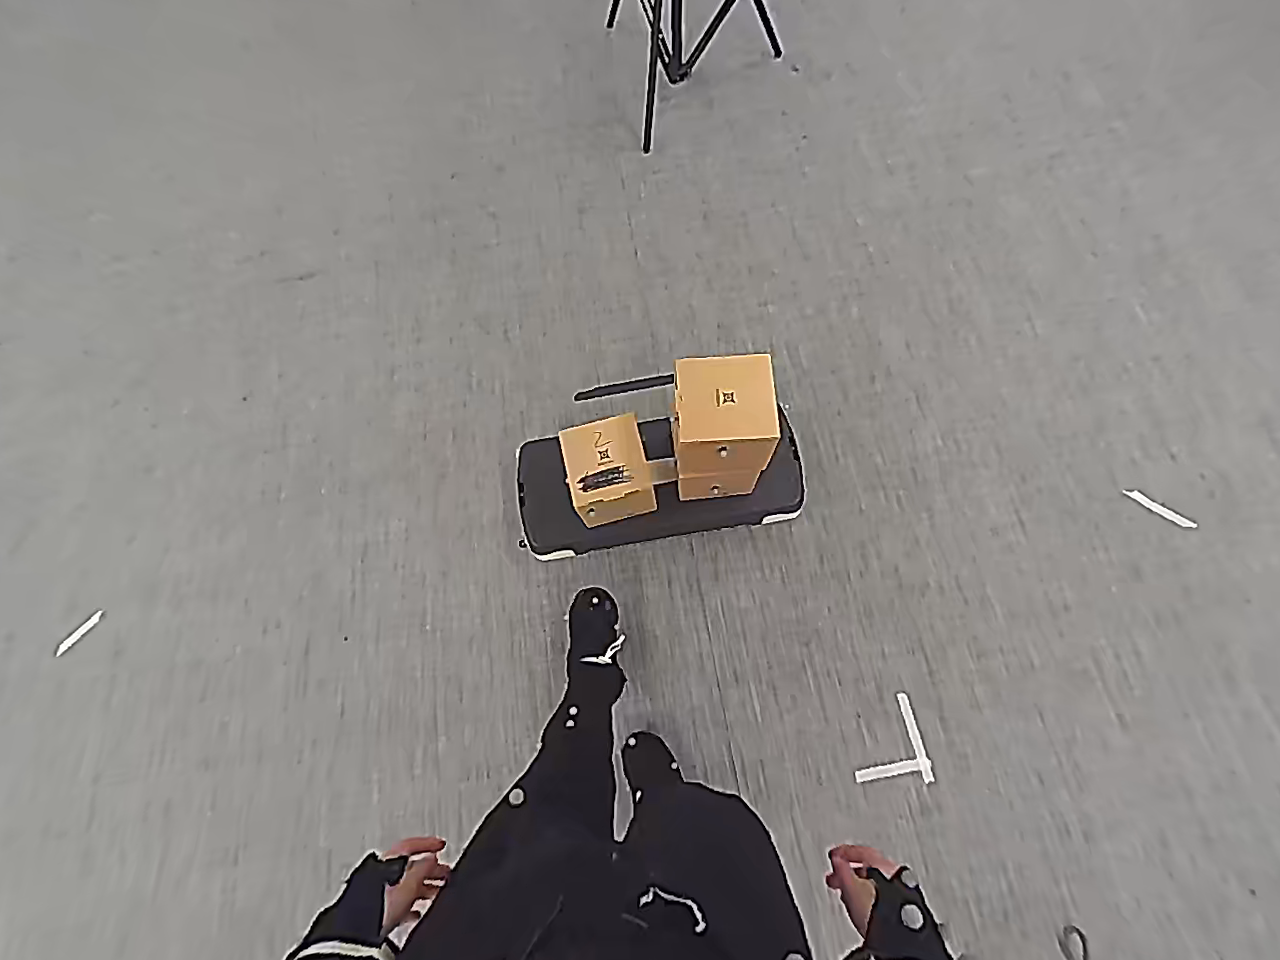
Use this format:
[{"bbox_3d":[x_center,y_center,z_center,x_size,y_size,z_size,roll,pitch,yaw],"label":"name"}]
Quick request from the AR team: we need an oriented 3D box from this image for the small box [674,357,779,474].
[{"bbox_3d":[0.155,-0.115,1.026,0.179,0.176,0.168,-3,72,4],"label":"small box"}]

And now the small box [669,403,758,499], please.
[{"bbox_3d":[0.155,-0.062,1.180,0.168,0.176,0.179,-6,71,2],"label":"small box"}]
